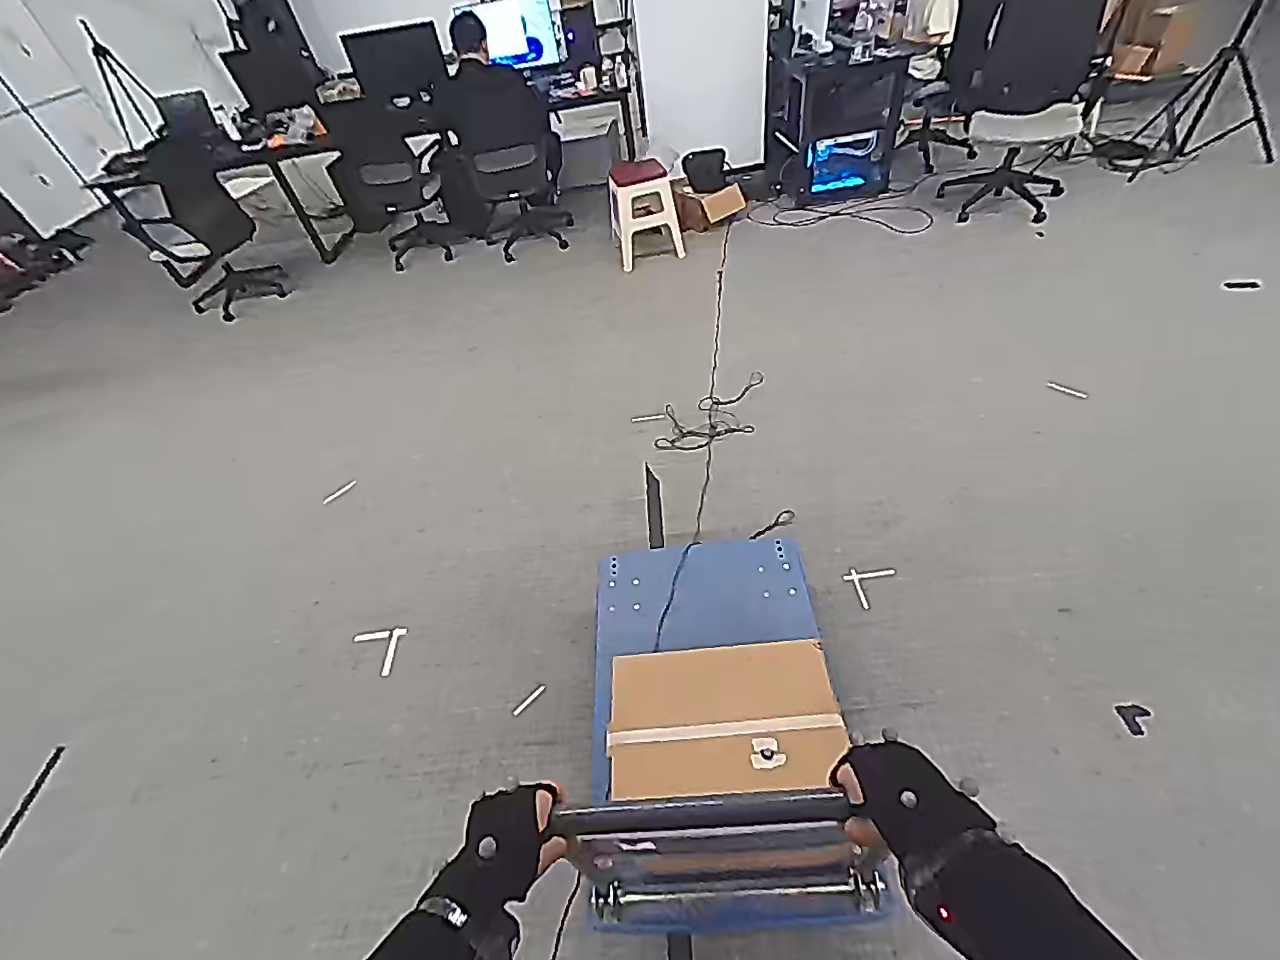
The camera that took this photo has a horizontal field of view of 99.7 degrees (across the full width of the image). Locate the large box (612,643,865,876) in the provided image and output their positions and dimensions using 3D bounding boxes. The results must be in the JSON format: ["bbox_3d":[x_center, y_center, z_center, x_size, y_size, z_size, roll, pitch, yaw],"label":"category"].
[{"bbox_3d":[0.165,0.548,1.053,0.408,0.320,0.320,-6,47,4],"label":"large box"}]
